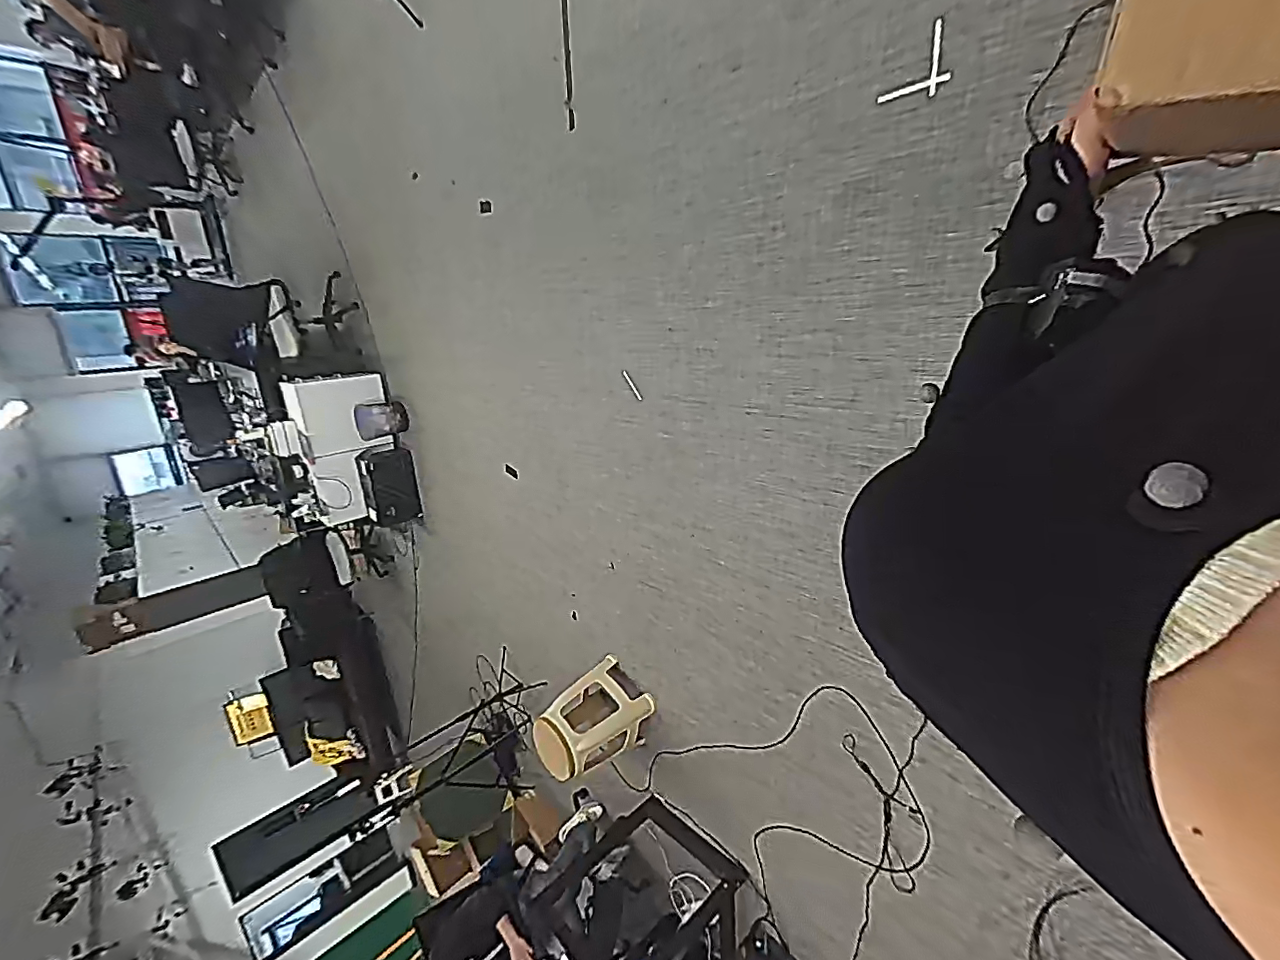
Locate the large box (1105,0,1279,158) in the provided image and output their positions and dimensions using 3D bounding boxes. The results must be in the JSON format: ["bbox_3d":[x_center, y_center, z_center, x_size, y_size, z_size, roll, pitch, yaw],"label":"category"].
[{"bbox_3d":[0.444,-0.308,0.168,0.408,0.320,0.320,18,122,34],"label":"large box"}]
